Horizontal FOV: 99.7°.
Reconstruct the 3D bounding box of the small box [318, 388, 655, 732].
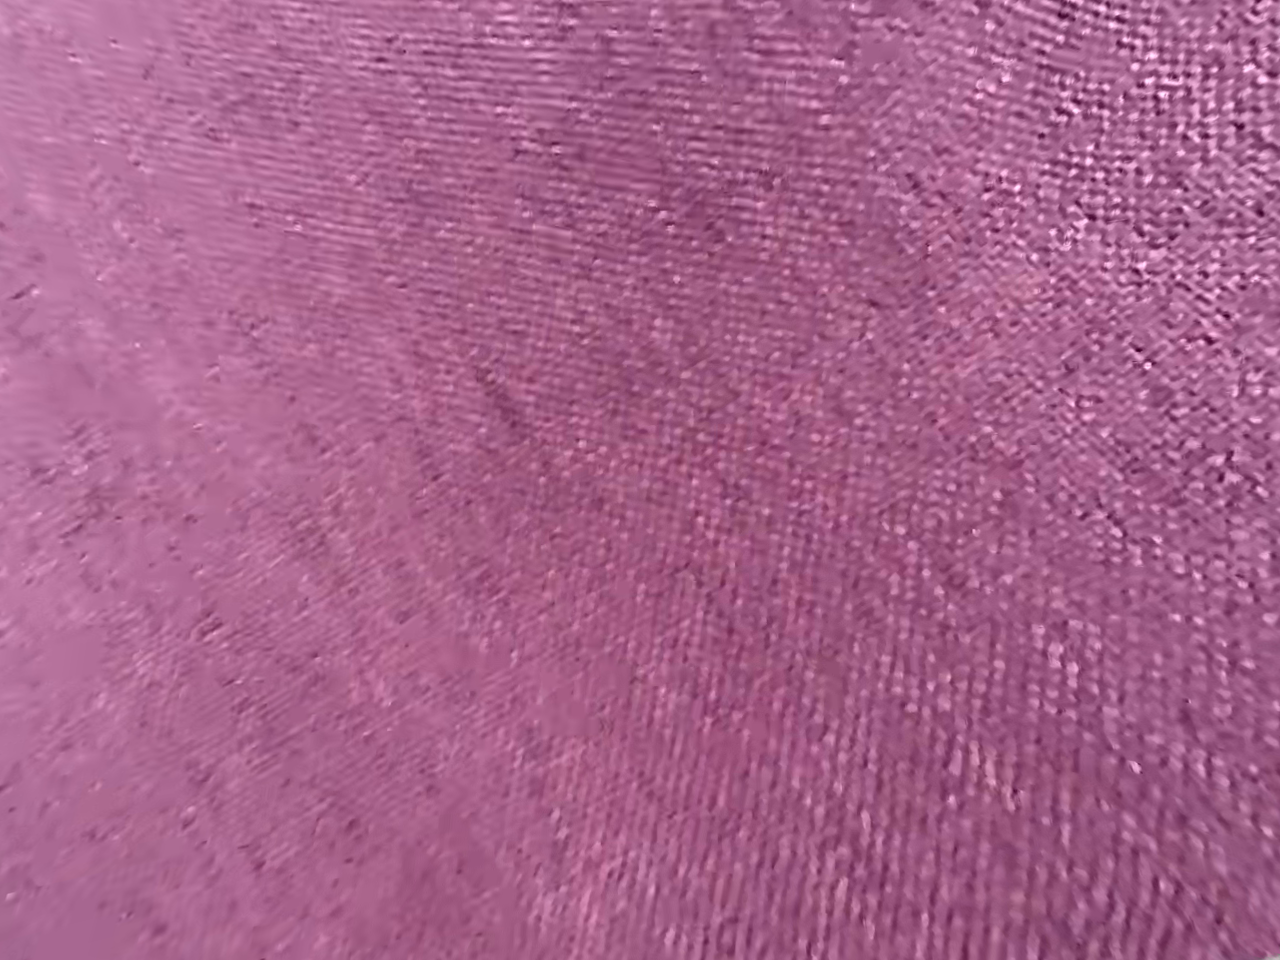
[{"bbox_3d":[-0.104,0.066,0.430,0.168,0.176,0.179,-32,70,-1],"label":"small box"}]
